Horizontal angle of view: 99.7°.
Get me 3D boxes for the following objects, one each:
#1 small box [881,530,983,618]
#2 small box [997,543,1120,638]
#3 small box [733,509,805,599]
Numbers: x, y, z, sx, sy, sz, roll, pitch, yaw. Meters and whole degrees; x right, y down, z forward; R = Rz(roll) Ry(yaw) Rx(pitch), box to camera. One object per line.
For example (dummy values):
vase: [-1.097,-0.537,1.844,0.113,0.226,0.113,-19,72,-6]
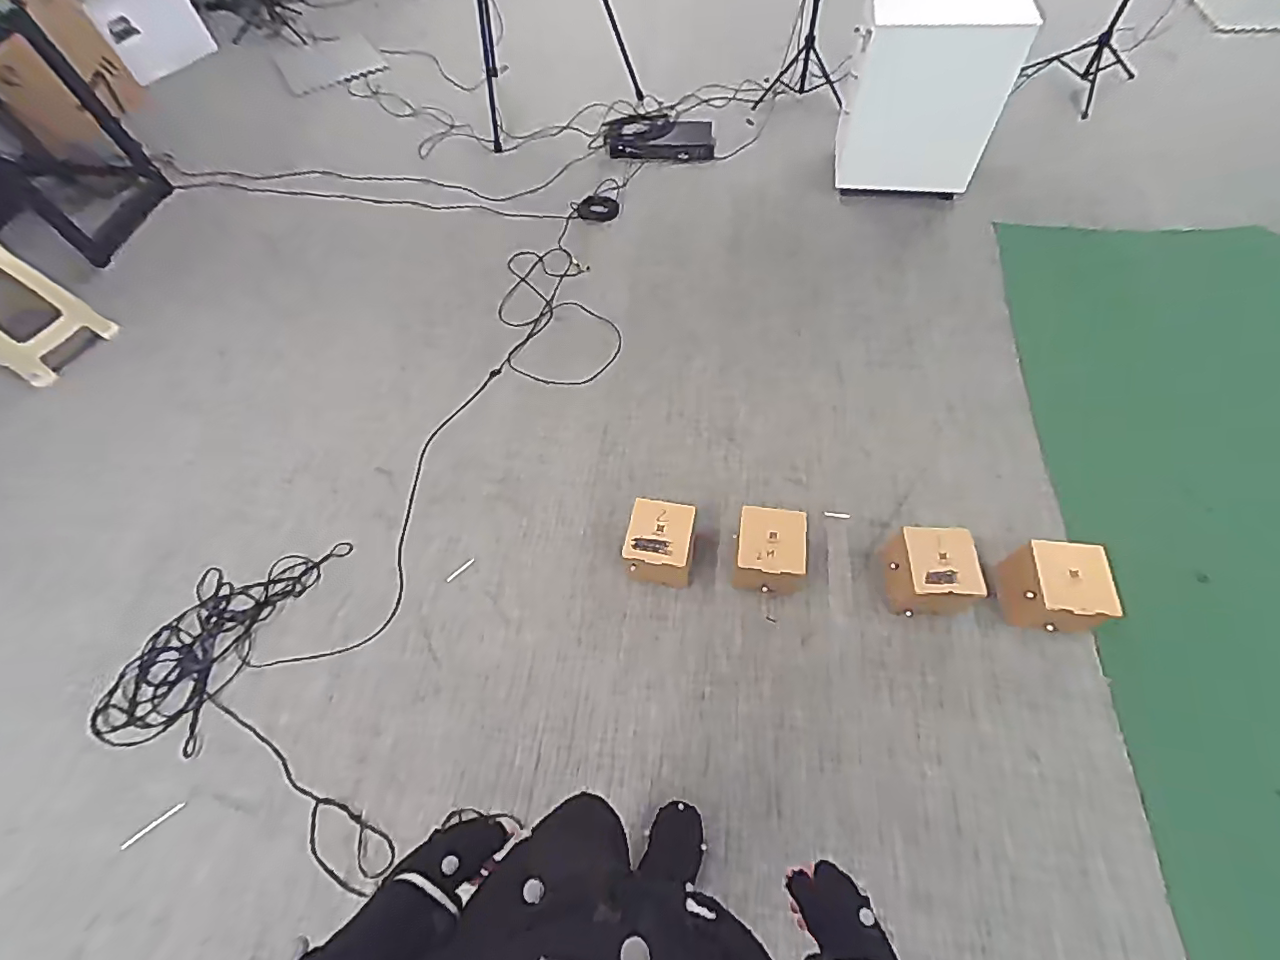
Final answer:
small box: [0.734,0.243,1.380,0.168,0.176,0.179,2,58,4]
small box: [1.023,0.275,1.342,0.168,0.176,0.179,4,60,7]
small box: [0.338,0.198,1.432,0.168,0.176,0.179,6,60,9]
